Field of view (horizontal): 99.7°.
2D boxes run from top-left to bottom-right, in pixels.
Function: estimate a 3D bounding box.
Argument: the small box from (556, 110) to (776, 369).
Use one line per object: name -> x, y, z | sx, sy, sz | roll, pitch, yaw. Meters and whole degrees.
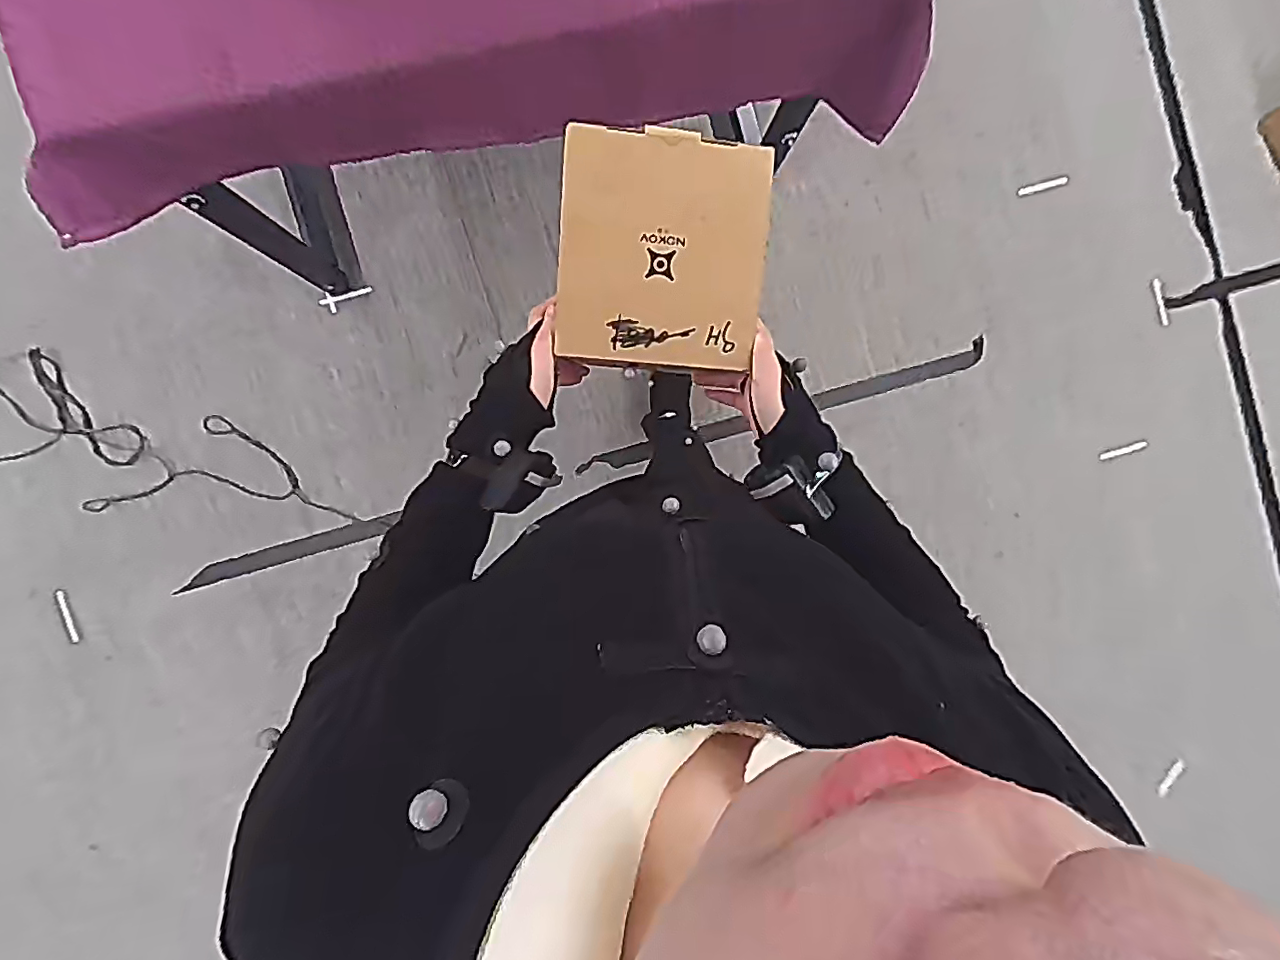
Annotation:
small box -> 0.013, -0.202, 0.508 | 0.168, 0.176, 0.179 | 4, 100, -5
